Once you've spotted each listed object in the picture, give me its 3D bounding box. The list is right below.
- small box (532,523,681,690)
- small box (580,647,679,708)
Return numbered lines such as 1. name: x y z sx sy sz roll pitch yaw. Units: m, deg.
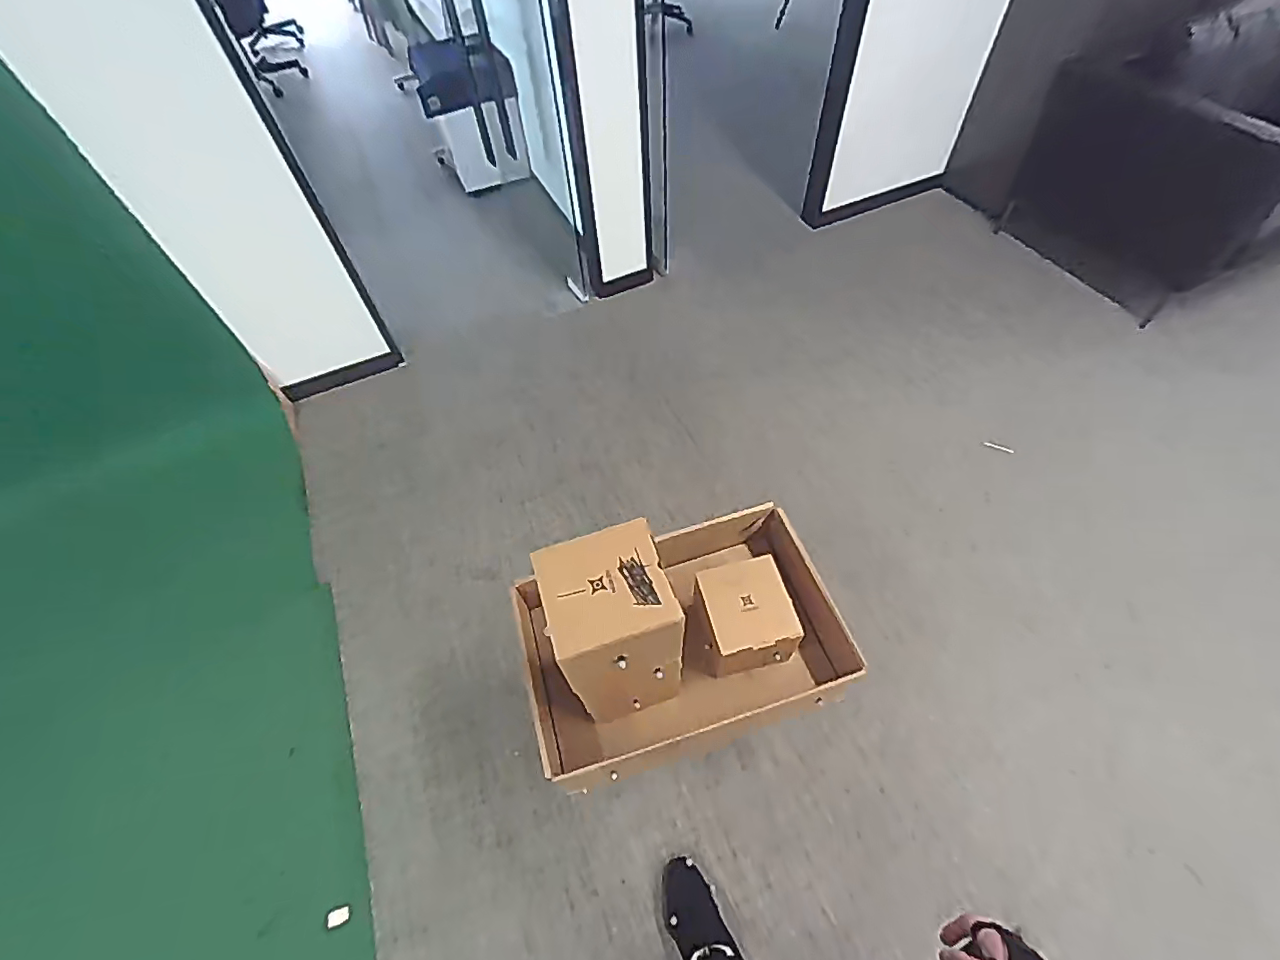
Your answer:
1. small box: -0.046 0.194 0.813 0.179 0.176 0.168 -17 56 -7
2. small box: -0.036 0.283 0.951 0.179 0.176 0.168 -15 56 -7
